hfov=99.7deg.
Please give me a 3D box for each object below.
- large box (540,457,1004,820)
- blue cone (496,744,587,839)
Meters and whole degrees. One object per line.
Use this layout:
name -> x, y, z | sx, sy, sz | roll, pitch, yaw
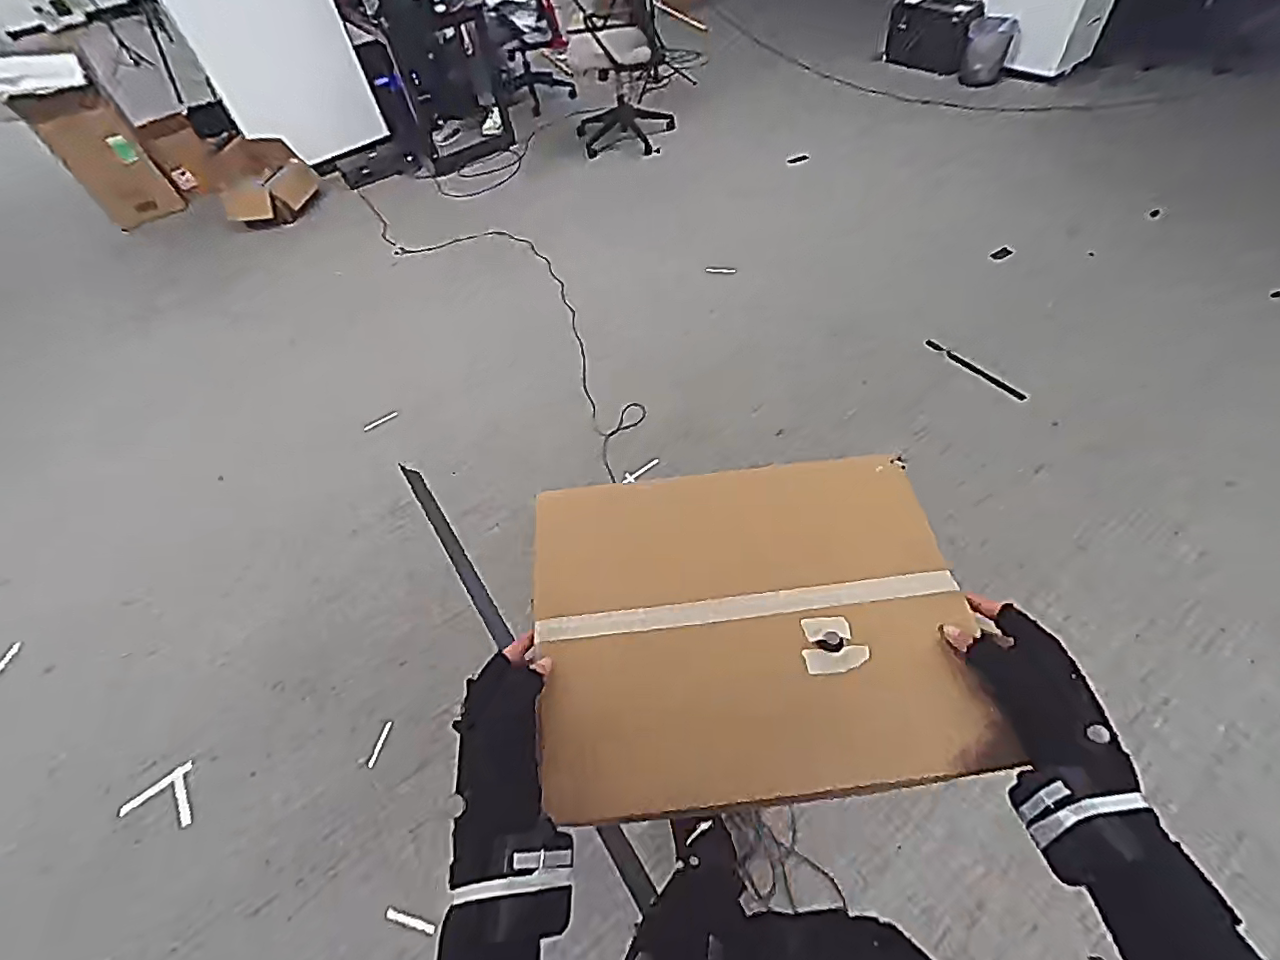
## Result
large box -> 0.105, 0.204, 0.659 | 0.408, 0.320, 0.320 | -6, 57, -1
blue cone -> -0.238, 0.643, 1.182 | 0.193, 0.380, 0.192 | -16, 53, -3
